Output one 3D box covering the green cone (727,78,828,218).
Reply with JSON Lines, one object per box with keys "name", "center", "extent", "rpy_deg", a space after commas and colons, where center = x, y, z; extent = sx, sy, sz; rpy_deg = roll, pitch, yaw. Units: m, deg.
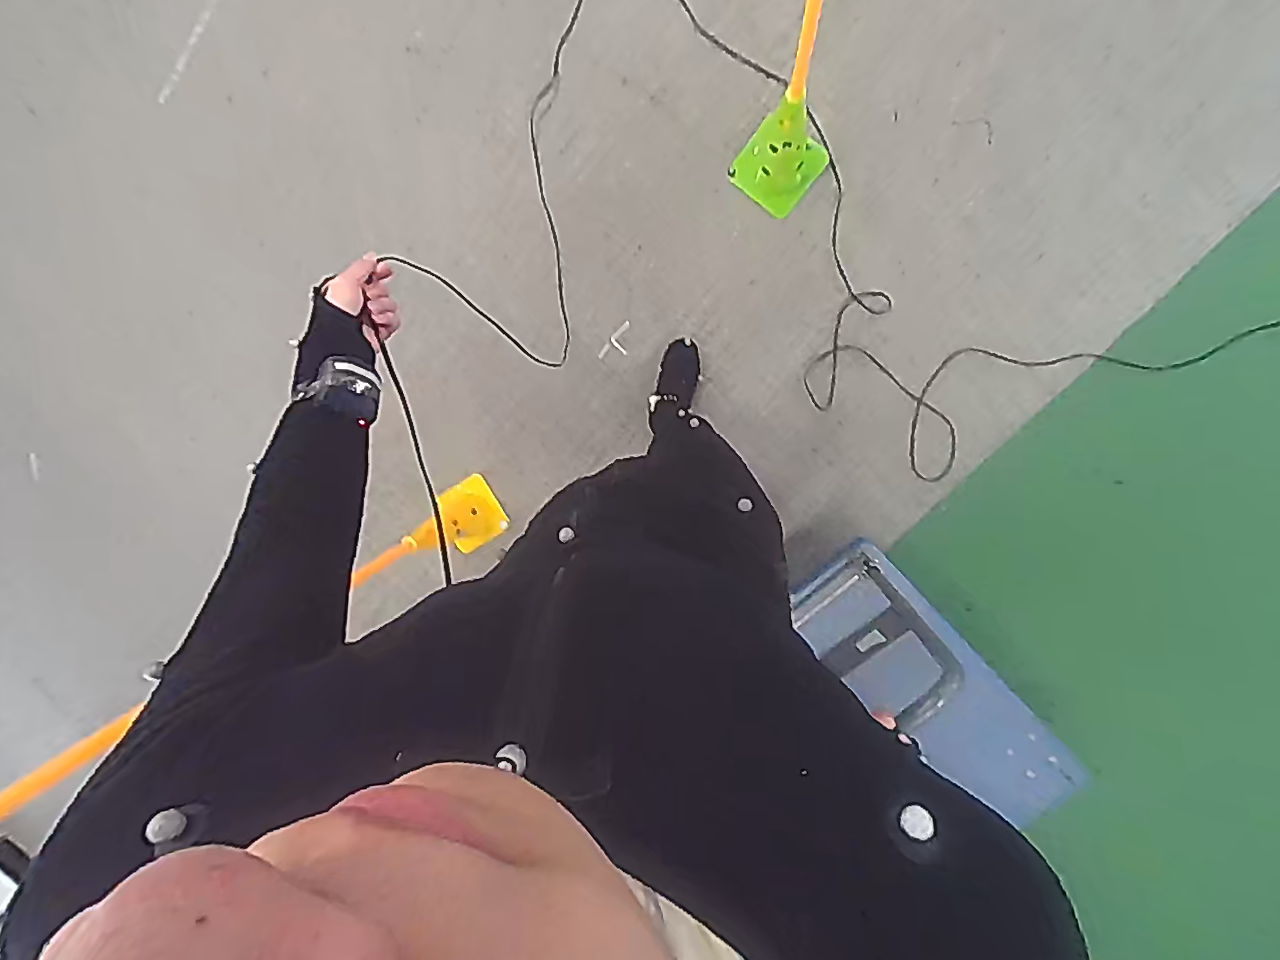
{"name": "green cone", "center": [0.336, -0.796, 1.246], "extent": [0.200, 0.368, 0.202], "rpy_deg": [38, 101, 0]}
